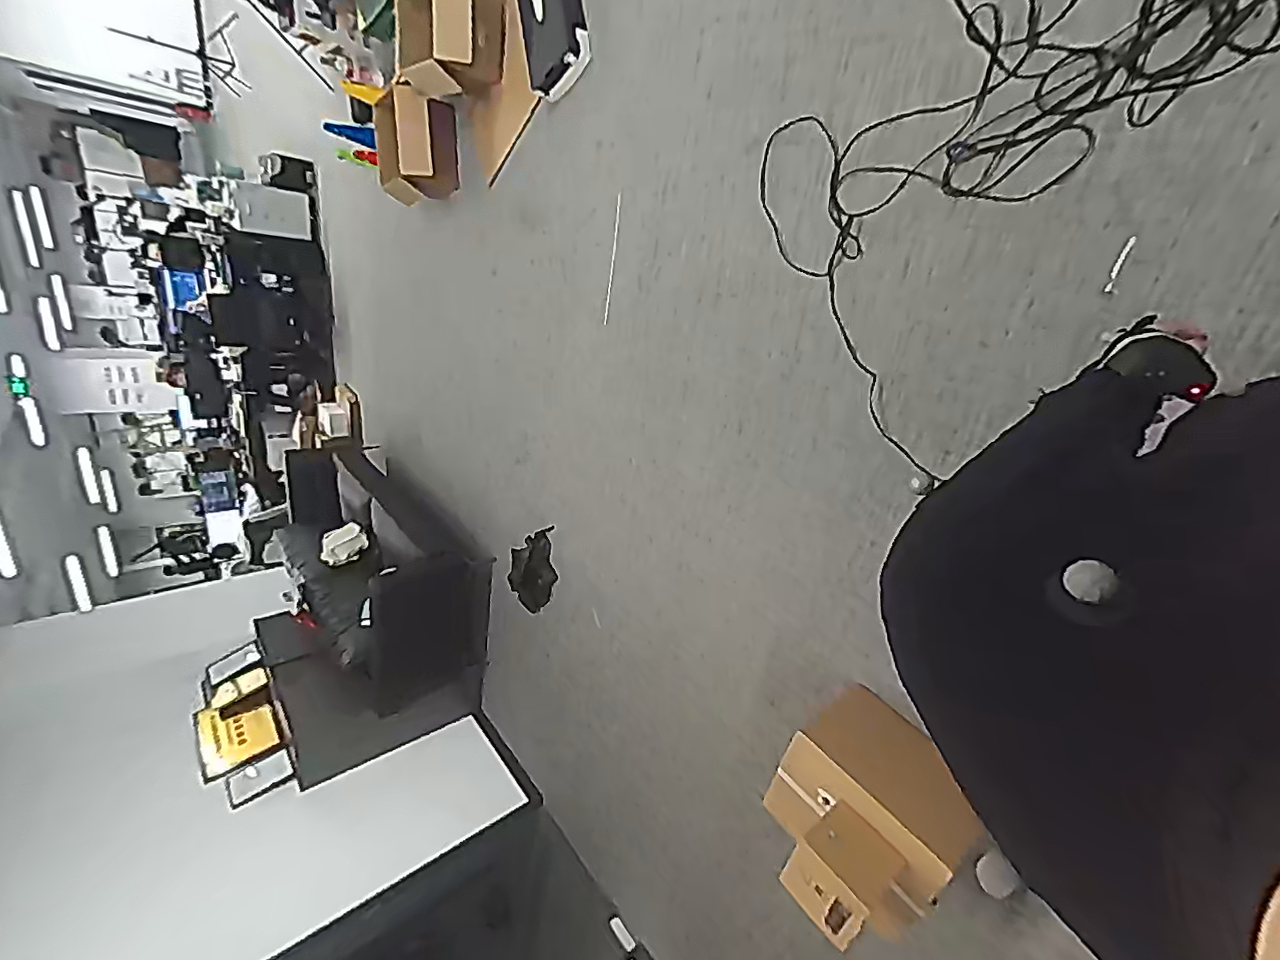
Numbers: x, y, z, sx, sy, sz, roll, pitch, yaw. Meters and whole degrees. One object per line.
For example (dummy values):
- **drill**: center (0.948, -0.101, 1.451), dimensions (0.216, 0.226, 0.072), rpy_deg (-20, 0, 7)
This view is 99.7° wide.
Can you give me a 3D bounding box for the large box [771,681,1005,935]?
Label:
- **large box**: center (0.628, 0.818, 1.405), dimensions (0.408, 0.320, 0.320), rpy_deg (37, 124, 40)
